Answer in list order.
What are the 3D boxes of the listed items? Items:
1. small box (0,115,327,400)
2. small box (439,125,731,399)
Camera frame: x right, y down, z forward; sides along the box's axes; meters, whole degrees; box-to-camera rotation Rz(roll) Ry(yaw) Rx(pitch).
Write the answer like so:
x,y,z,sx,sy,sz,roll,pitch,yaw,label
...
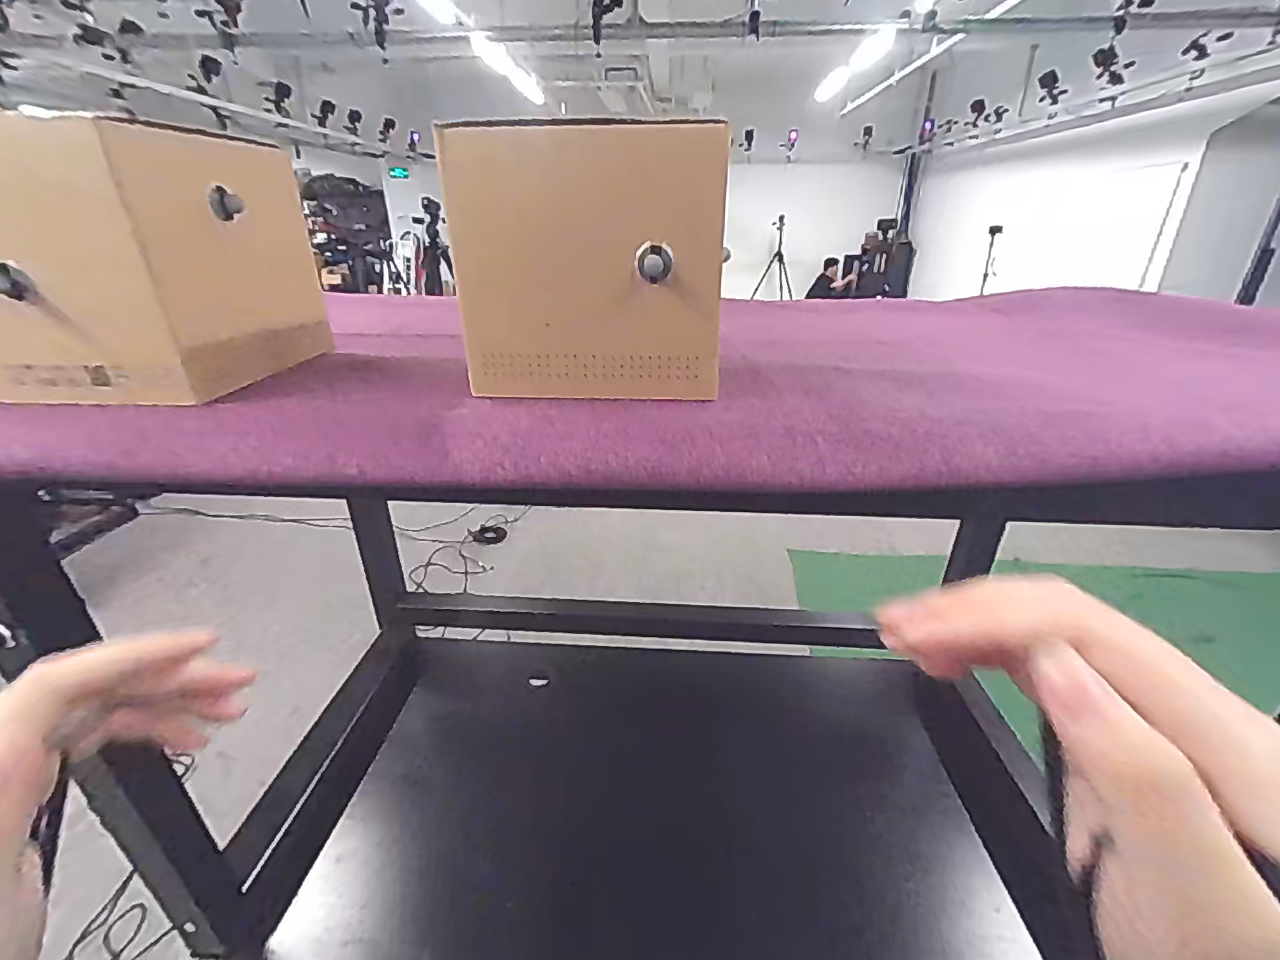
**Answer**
x,y,z,sx,sy,sz,roll,pitch,yaw,label
-0.372,-0.164,0.410,0.168,0.176,0.179,2,26,1,small box
-0.030,-0.164,0.422,0.179,0.176,0.168,0,25,3,small box
